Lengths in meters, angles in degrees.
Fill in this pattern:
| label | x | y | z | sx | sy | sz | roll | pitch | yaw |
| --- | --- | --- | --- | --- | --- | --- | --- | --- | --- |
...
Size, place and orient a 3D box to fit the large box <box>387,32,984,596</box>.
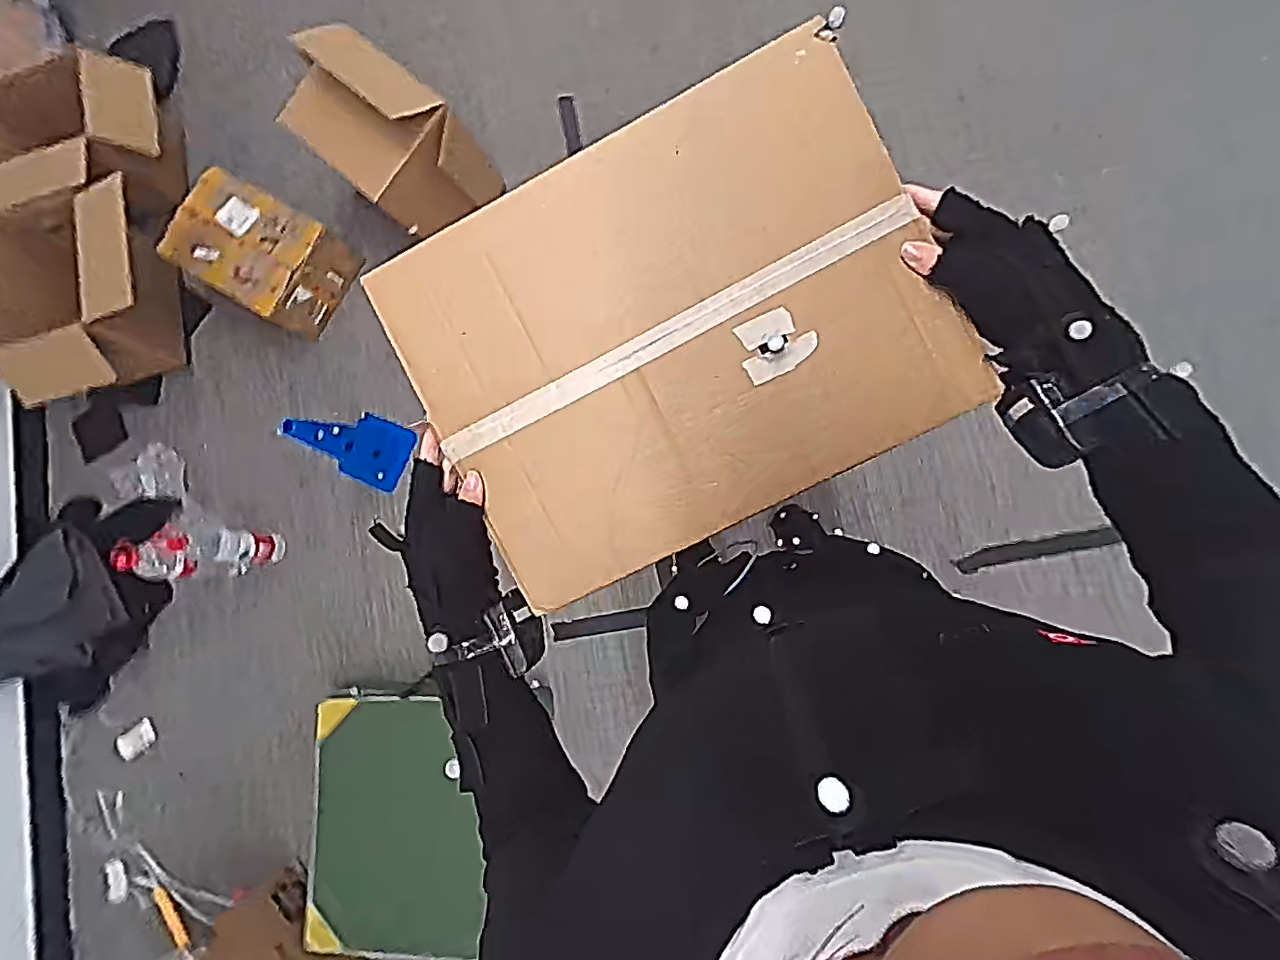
| label | x | y | z | sx | sy | sz | roll | pitch | yaw |
| --- | --- | --- | --- | --- | --- | --- | --- | --- | --- |
| large box | 0.037 | -0.130 | 0.583 | 0.408 | 0.320 | 0.320 | -26 | 92 | 5 |
